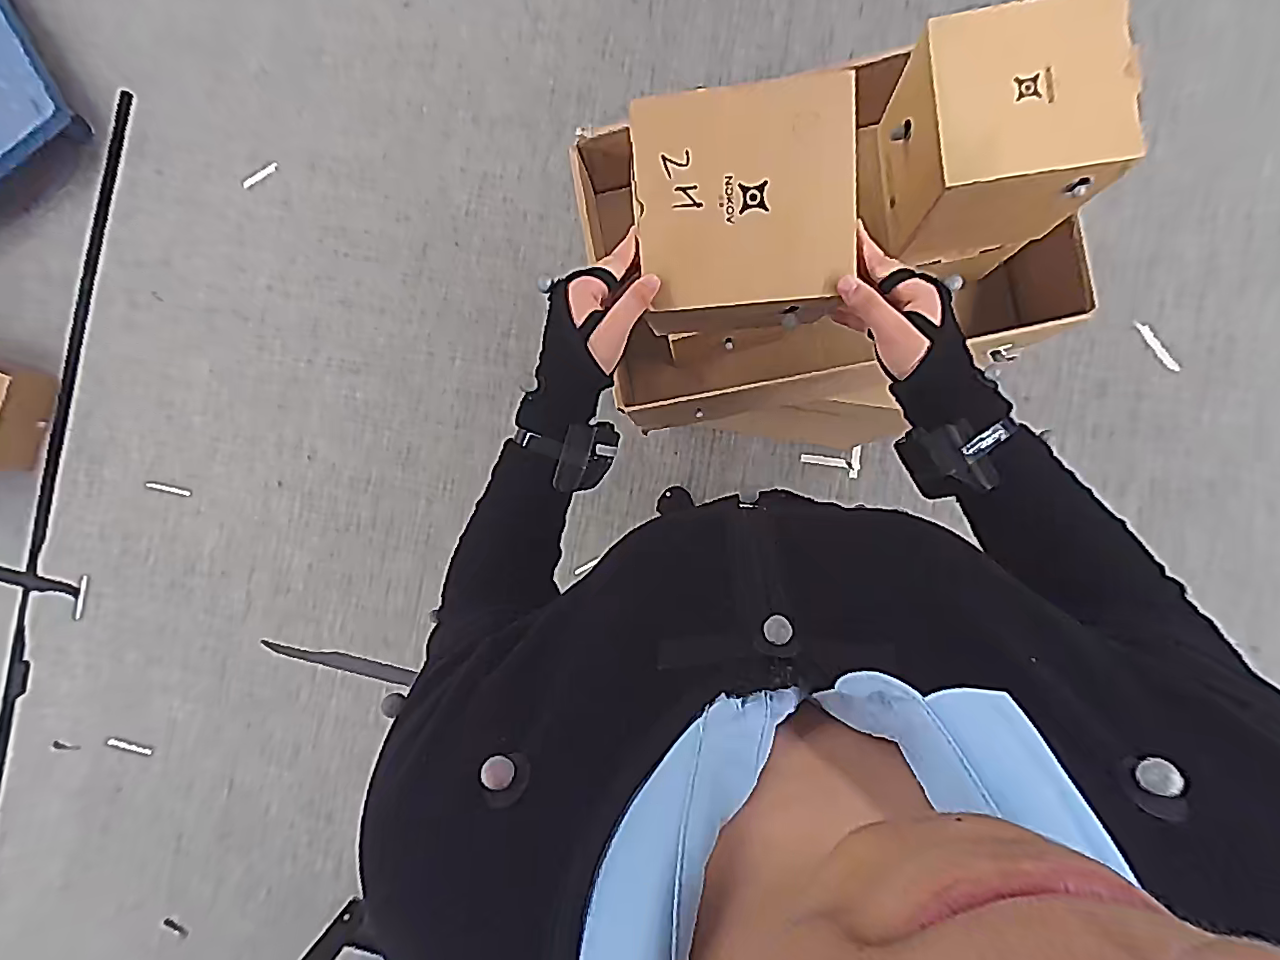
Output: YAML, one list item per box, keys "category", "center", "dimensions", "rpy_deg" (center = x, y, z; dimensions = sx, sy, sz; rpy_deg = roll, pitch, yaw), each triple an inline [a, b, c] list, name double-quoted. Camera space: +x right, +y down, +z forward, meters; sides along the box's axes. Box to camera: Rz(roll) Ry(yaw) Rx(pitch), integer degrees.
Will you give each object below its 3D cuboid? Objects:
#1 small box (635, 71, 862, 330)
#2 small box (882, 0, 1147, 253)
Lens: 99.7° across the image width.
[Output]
- category: "small box"
  center: [0.094, -0.238, 0.506]
  dimensions: [0.179, 0.176, 0.168]
  rpy_deg: [-2, 98, 7]
- category: "small box"
  center: [0.375, -0.365, 0.581]
  dimensions: [0.179, 0.176, 0.168]
  rpy_deg: [-6, 89, 7]
